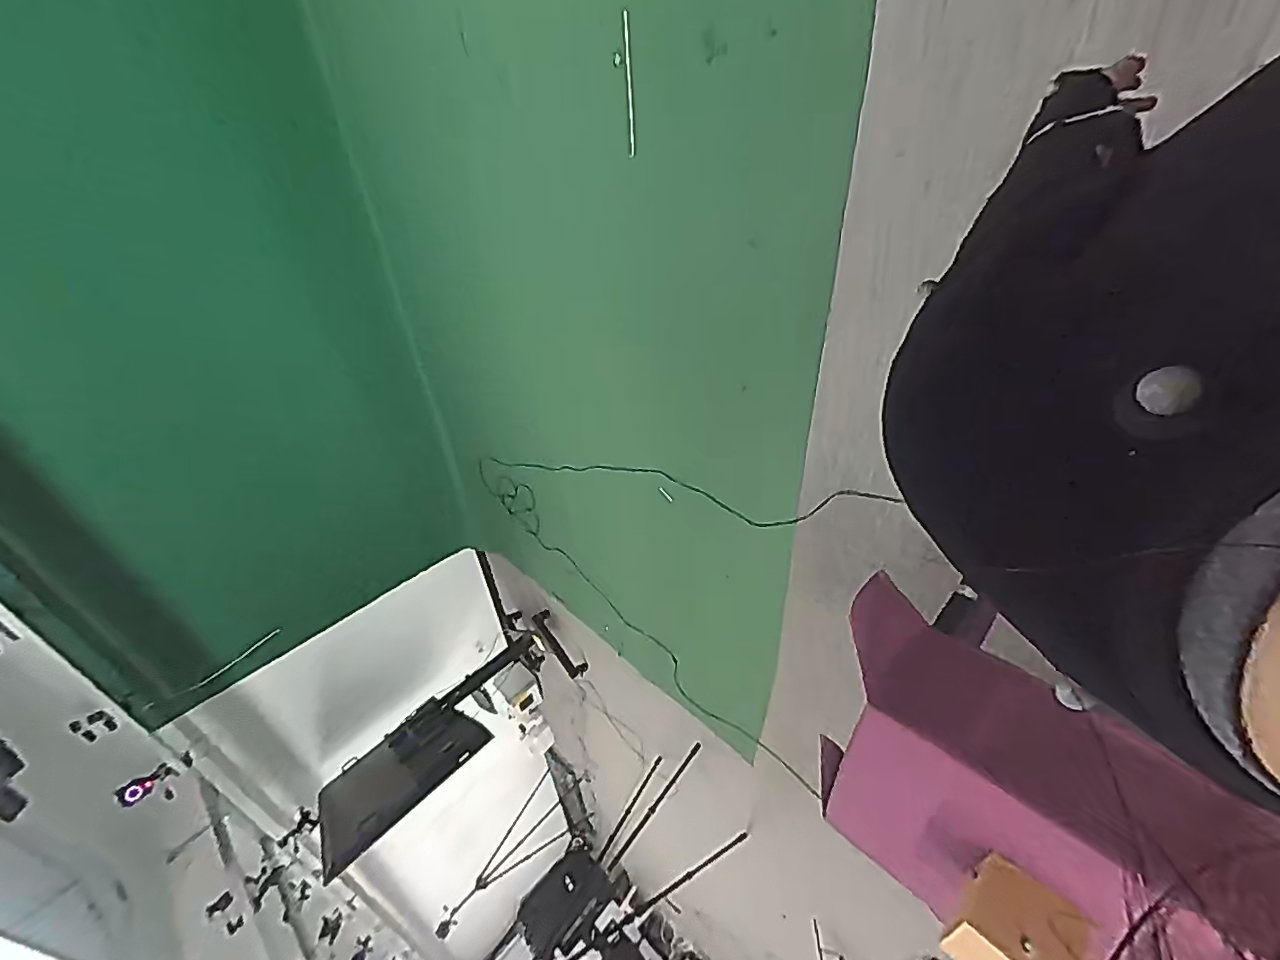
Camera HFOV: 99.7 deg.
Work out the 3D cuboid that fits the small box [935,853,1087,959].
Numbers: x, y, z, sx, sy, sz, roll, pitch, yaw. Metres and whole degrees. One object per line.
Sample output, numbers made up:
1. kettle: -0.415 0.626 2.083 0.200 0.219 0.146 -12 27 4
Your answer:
1. small box: 0.721 0.885 1.052 0.179 0.176 0.168 32 138 34
